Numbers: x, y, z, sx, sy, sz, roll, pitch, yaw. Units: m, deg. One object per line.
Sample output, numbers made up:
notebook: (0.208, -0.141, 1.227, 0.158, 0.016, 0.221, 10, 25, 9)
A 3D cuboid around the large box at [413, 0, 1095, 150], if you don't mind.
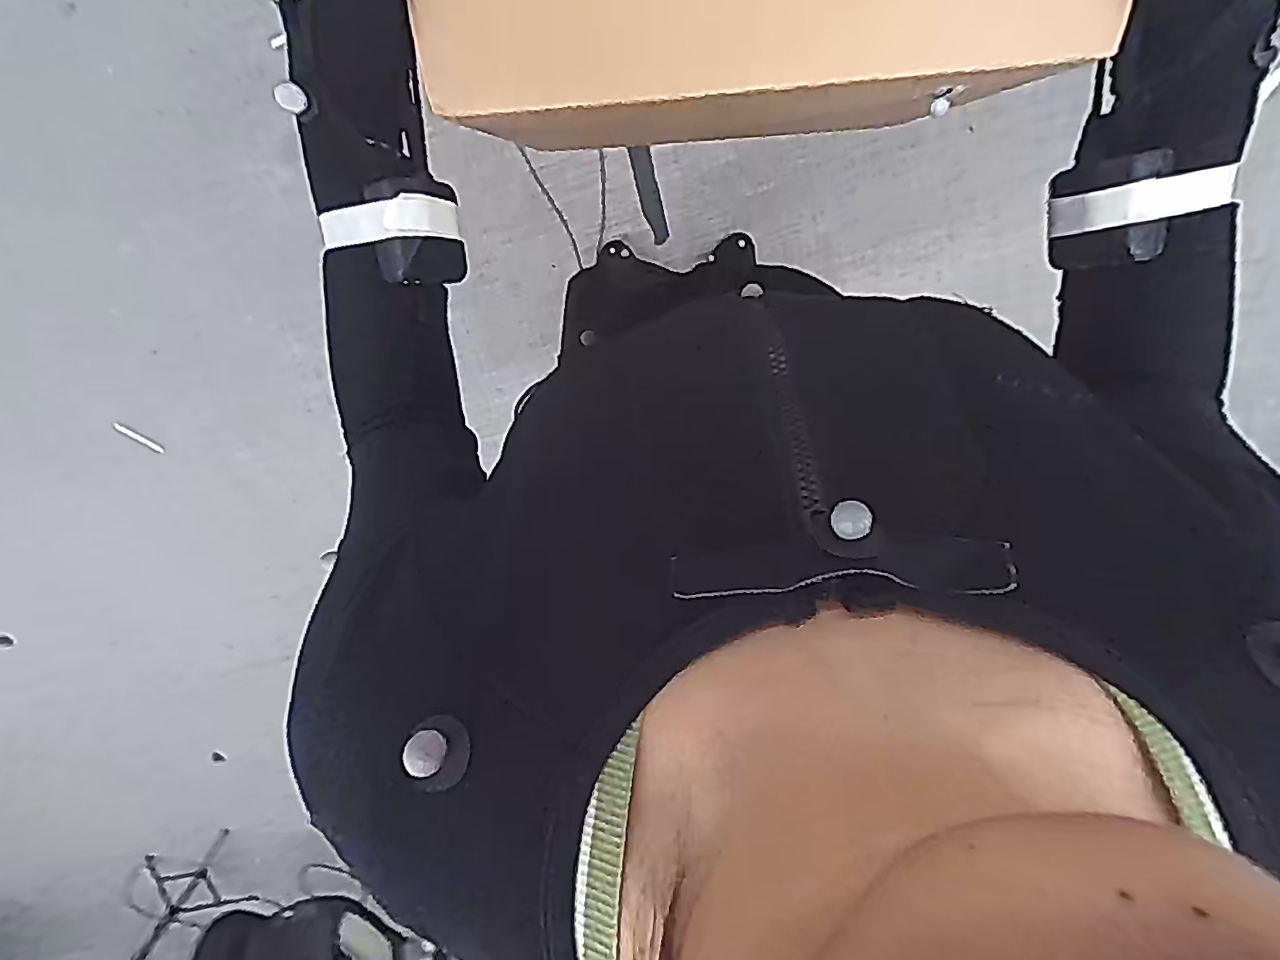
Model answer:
large box: (0.061, -0.445, 0.396, 0.408, 0.320, 0.320, -3, 117, 4)
